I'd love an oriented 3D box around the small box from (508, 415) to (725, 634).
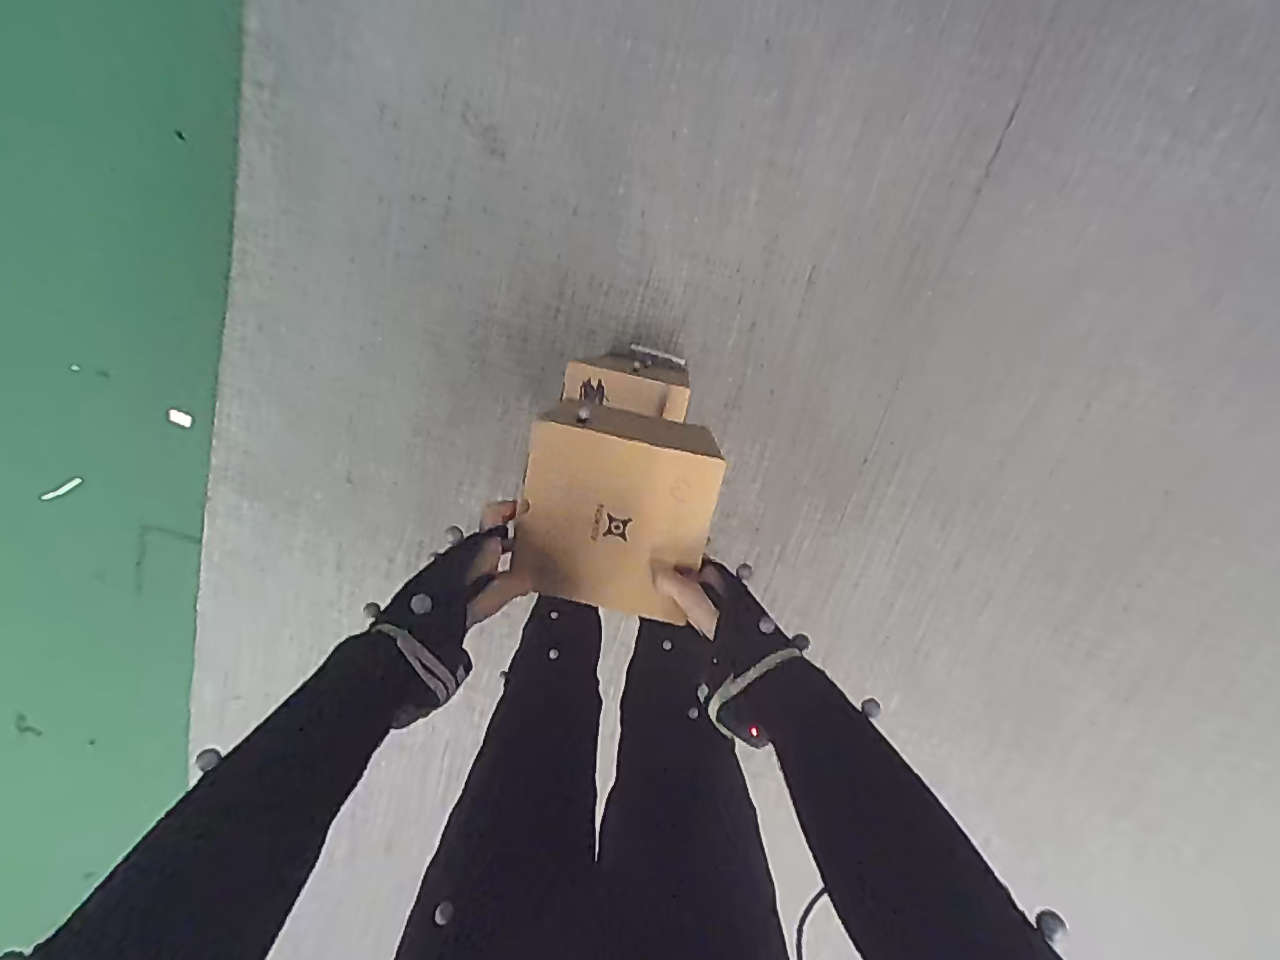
[{"bbox_3d":[-0.020,0.033,0.571,0.179,0.176,0.168,12,105,1],"label":"small box"}]
